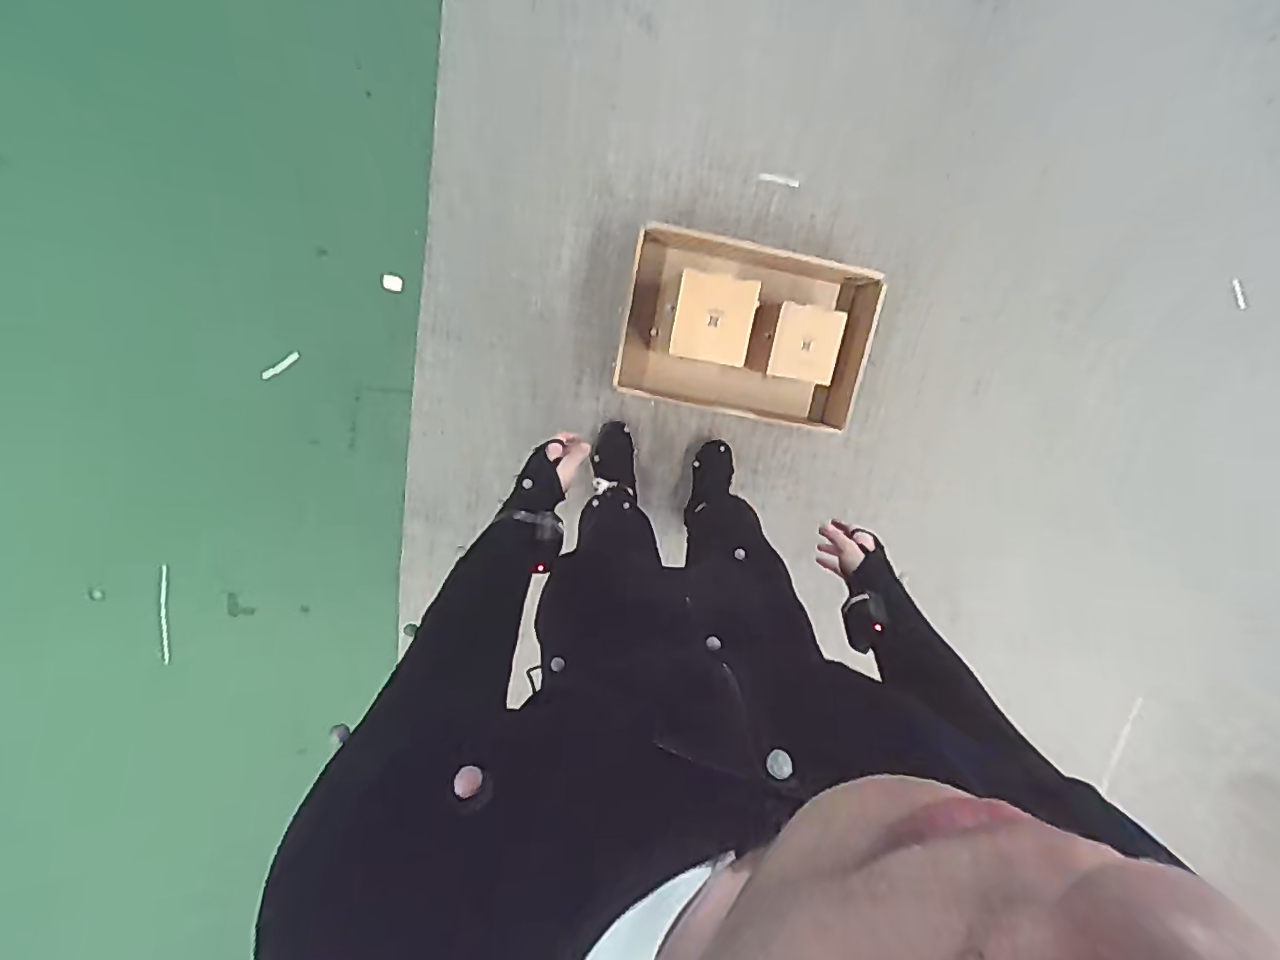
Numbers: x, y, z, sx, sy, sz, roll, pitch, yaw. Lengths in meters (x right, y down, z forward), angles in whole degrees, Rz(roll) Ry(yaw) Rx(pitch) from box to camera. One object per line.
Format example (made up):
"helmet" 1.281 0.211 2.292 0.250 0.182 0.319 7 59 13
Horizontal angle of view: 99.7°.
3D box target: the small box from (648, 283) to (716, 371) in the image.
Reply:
"small box" 0.117 -0.376 1.345 0.168 0.176 0.179 9 101 -8

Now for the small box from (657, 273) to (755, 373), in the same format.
"small box" 0.136 -0.339 1.188 0.168 0.176 0.179 8 102 -7
